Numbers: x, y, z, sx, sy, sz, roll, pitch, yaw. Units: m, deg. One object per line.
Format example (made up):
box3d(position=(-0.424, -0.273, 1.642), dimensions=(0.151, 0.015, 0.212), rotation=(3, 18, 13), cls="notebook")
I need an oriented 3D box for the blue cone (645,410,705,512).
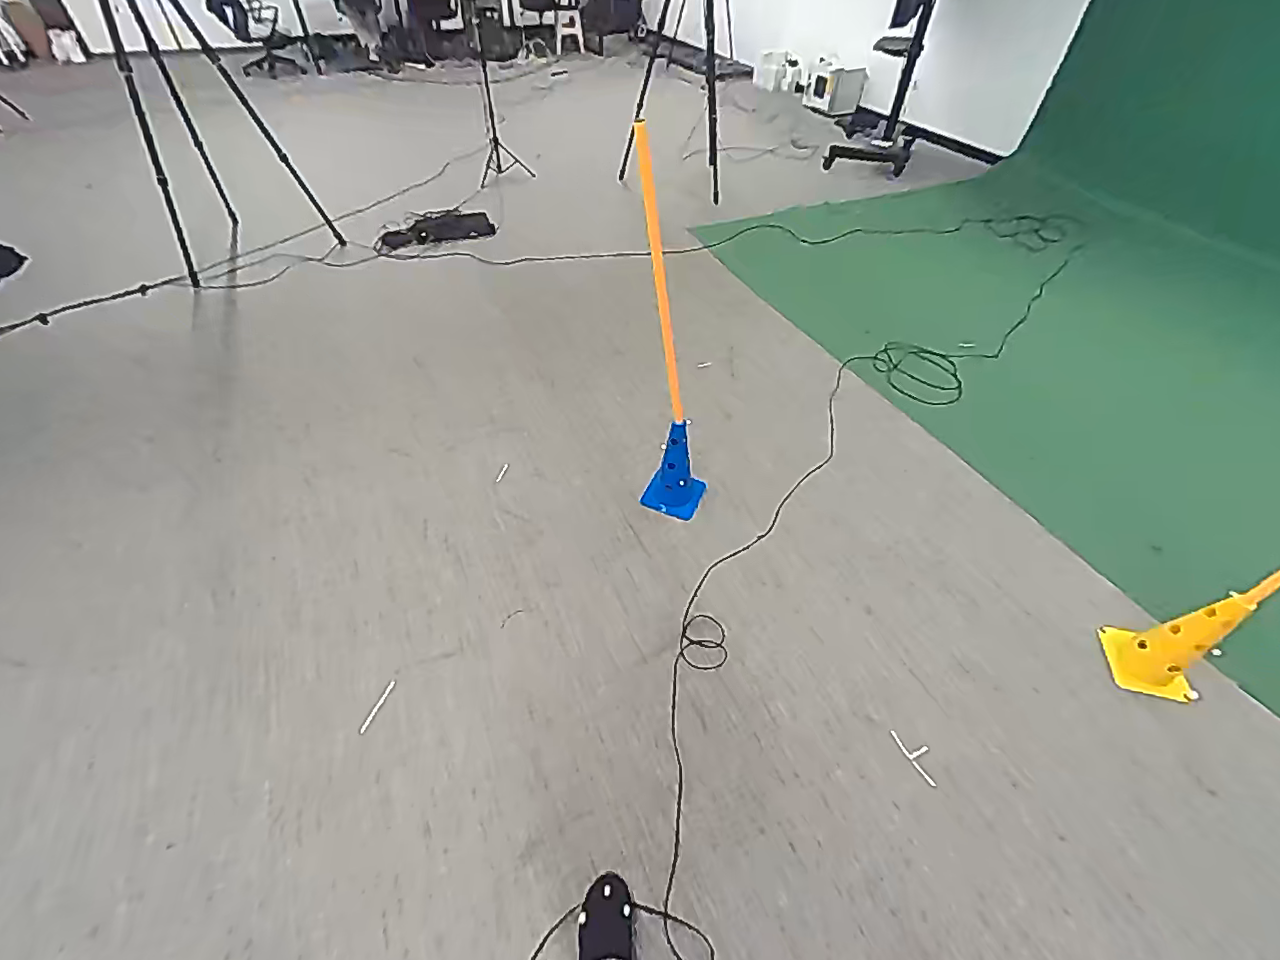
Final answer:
box3d(position=(0.127, -0.078, 1.843), dimensions=(0.193, 0.380, 0.192), rotation=(17, 50, 16), cls="blue cone")
